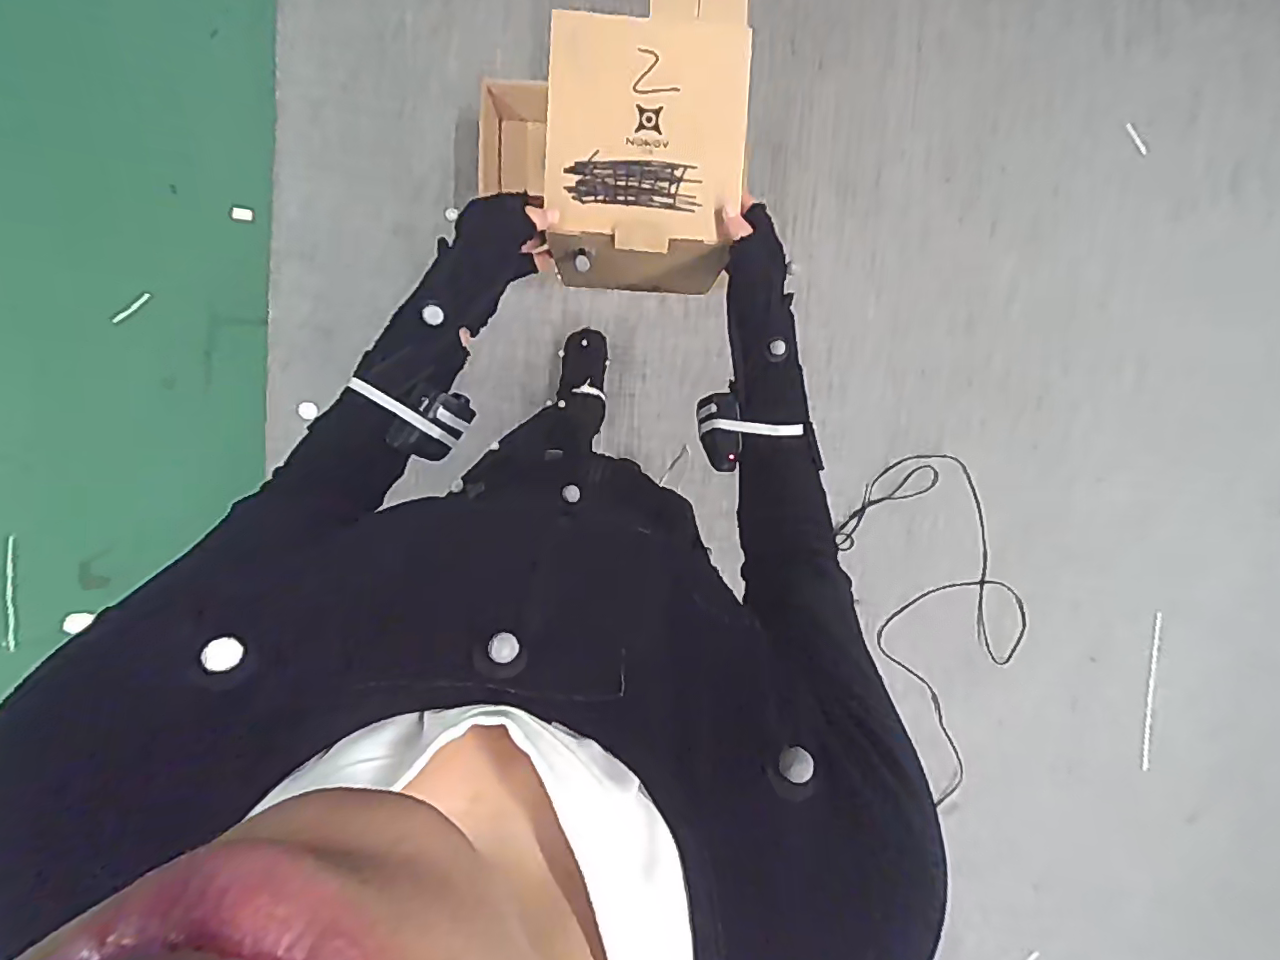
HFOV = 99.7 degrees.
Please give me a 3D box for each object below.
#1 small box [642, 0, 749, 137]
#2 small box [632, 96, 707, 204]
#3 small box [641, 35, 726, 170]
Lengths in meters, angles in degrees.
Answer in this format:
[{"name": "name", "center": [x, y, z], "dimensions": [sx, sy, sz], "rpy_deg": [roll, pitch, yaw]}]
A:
[{"name": "small box", "center": [0.092, -0.744, 0.961], "dimensions": [0.168, 0.176, 0.179], "rpy_deg": [2, 94, -3]}, {"name": "small box", "center": [0.067, -0.777, 1.288], "dimensions": [0.168, 0.176, 0.179], "rpy_deg": [-3, 94, 0]}, {"name": "small box", "center": [0.088, -0.763, 1.107], "dimensions": [0.168, 0.176, 0.179], "rpy_deg": [2, 95, -2]}]
